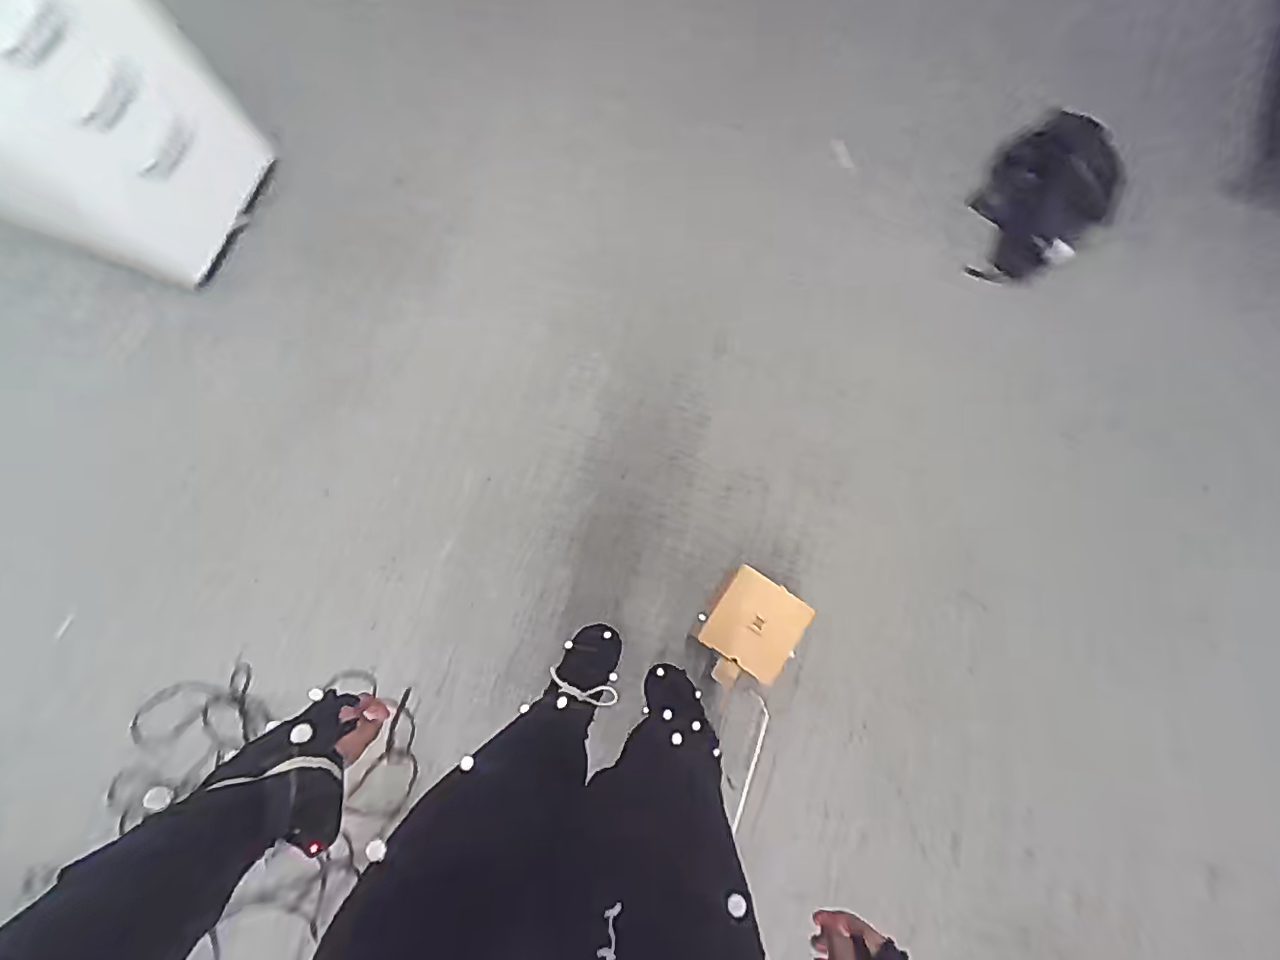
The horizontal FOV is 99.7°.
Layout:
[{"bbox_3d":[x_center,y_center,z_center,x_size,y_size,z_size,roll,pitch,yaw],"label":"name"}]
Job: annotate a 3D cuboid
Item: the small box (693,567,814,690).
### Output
[{"bbox_3d":[0.222,0.297,1.116,0.168,0.176,0.179,34,82,6],"label":"small box"}]
